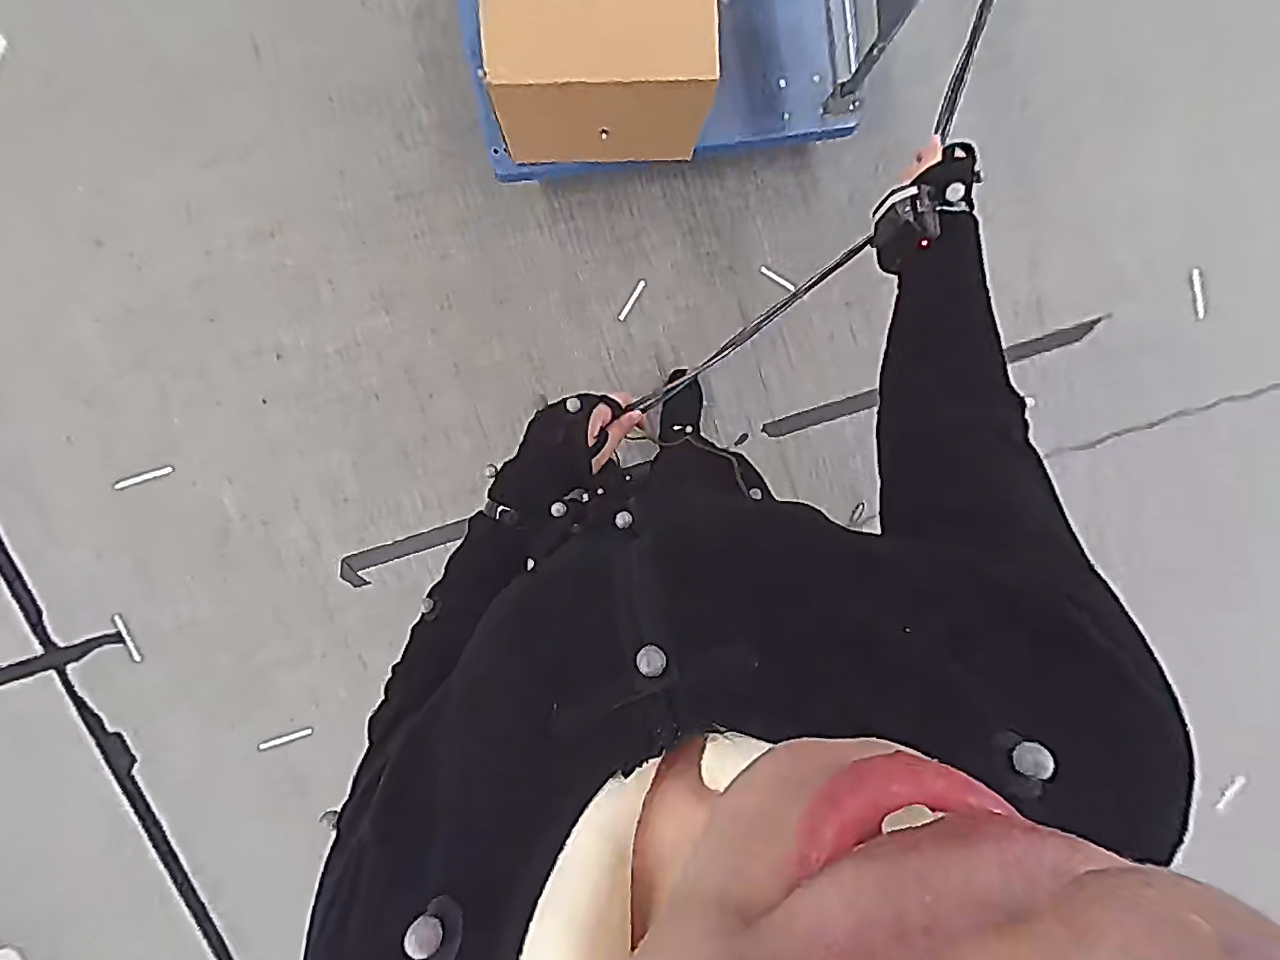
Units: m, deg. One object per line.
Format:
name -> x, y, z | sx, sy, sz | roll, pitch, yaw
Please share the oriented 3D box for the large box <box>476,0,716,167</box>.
large box -> -0.084, -0.840, 1.047 | 0.408, 0.320, 0.320 | -4, 97, -3
